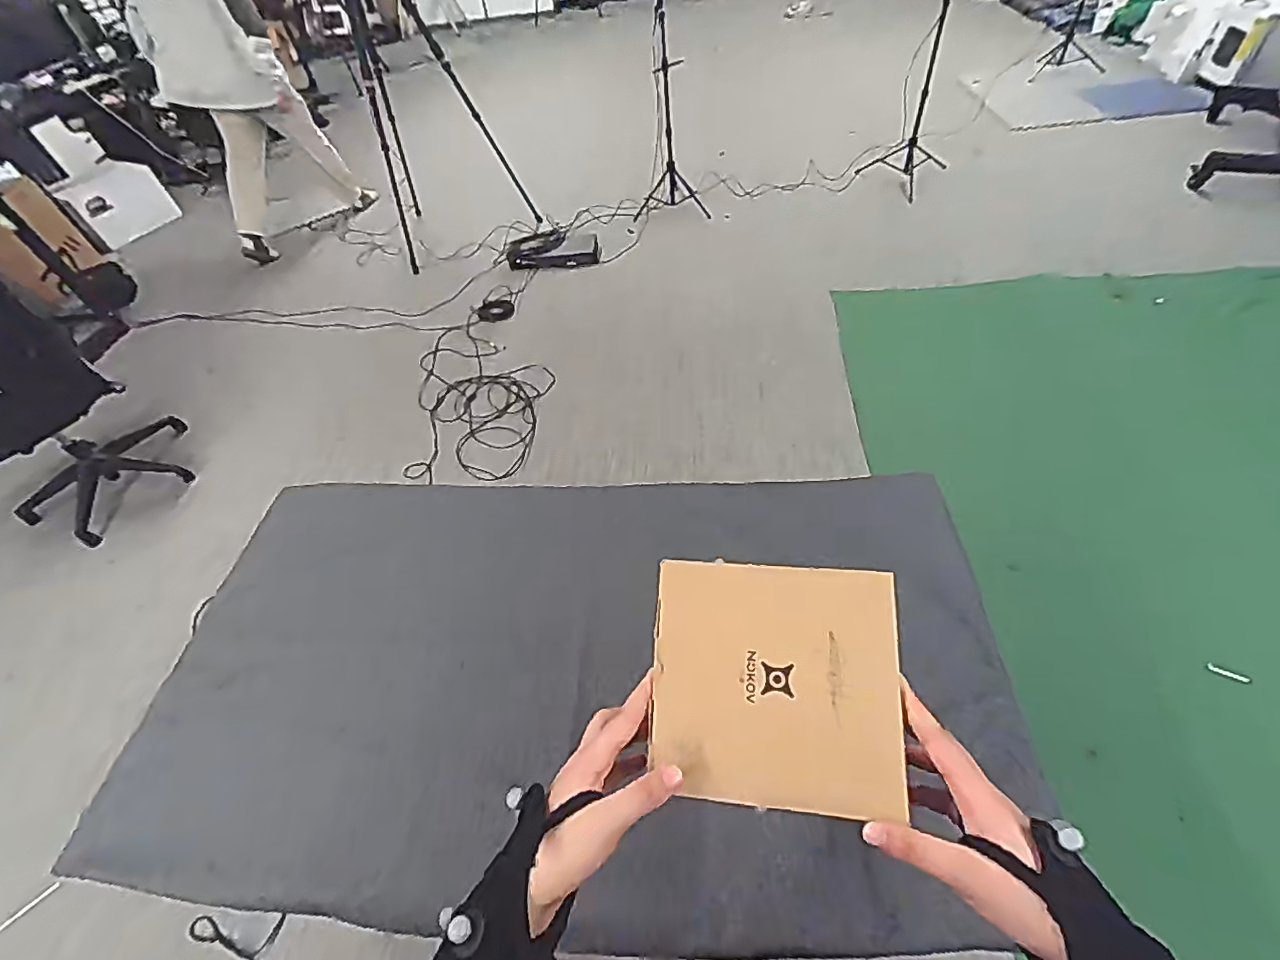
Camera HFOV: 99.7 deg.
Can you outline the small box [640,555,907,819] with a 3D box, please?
[{"bbox_3d":[0.103,0.162,0.457,0.179,0.176,0.168,1,72,9],"label":"small box"}]
